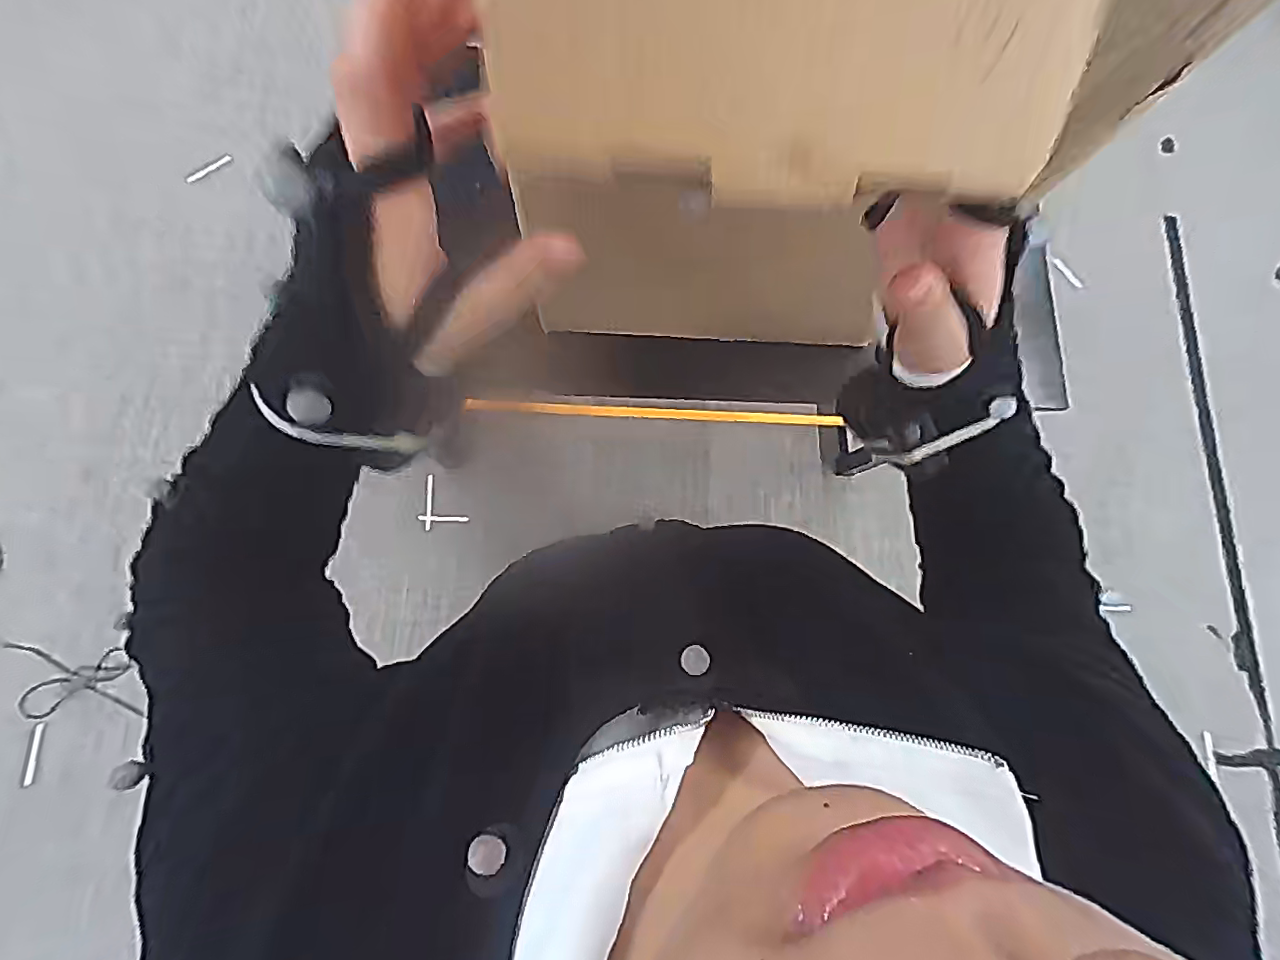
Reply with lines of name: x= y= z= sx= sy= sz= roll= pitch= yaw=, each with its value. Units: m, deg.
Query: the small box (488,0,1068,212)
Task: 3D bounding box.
small box: x=0.029 y=-0.203 z=0.193 sx=0.168 sy=0.176 sz=0.179 roll=-5 pitch=122 yaw=-9
